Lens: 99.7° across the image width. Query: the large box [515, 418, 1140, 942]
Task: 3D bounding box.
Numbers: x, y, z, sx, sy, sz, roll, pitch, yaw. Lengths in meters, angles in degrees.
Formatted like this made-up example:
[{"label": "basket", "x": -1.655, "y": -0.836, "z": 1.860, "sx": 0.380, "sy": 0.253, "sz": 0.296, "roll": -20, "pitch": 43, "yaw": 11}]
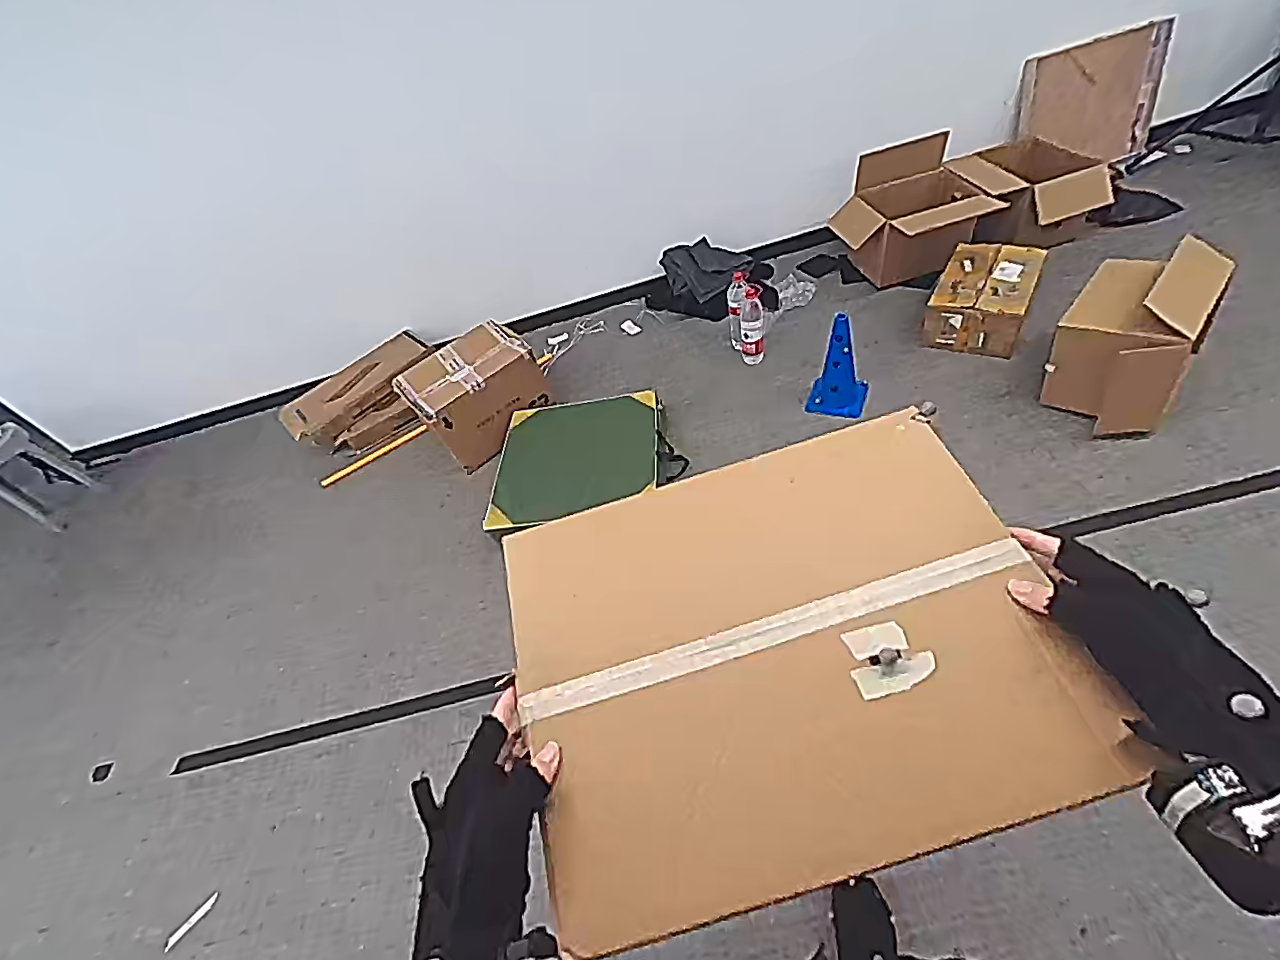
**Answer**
[{"label": "large box", "x": 0.130, "y": 0.200, "z": 0.560, "sx": 0.408, "sy": 0.320, "sz": 0.320, "roll": -18, "pitch": 57, "yaw": 0}]
